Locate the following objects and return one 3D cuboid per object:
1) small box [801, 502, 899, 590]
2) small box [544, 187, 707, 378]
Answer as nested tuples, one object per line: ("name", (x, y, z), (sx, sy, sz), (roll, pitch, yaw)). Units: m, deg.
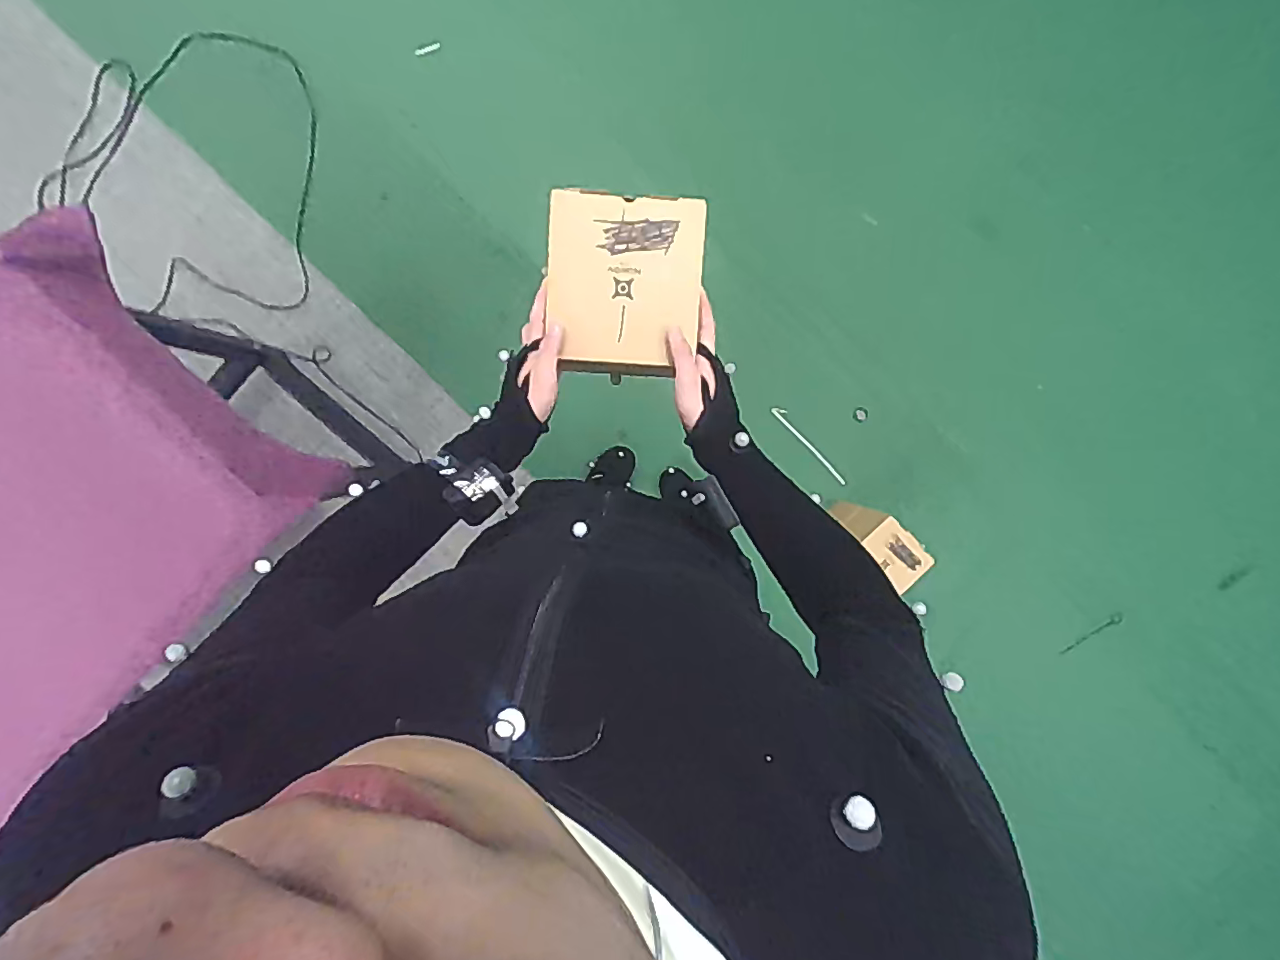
("small box", (0.598, 0.182, 1.566), (0.179, 0.176, 0.168), (-43, 93, 3))
("small box", (-0.020, -0.221, 0.649), (0.168, 0.176, 0.179), (3, 98, -2))
